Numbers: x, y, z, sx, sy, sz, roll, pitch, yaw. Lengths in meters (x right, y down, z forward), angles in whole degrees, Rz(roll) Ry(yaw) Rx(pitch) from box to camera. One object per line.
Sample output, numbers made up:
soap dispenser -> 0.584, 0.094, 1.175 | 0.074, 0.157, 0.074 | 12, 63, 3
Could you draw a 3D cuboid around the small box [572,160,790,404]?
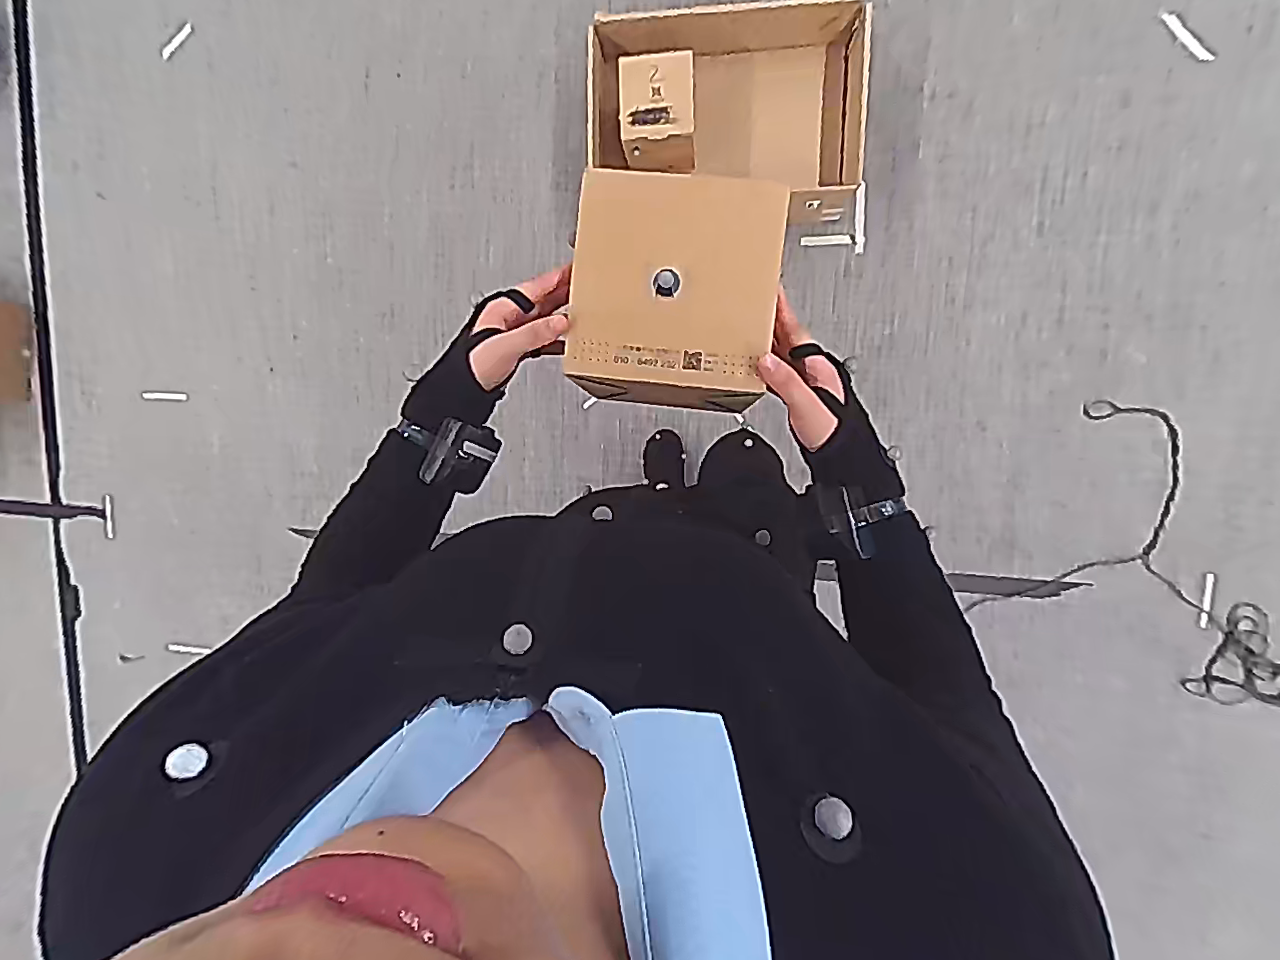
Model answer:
small box -> 0.035, -0.166, 0.508 | 0.168, 0.179, 0.176 | 7, 92, 4
